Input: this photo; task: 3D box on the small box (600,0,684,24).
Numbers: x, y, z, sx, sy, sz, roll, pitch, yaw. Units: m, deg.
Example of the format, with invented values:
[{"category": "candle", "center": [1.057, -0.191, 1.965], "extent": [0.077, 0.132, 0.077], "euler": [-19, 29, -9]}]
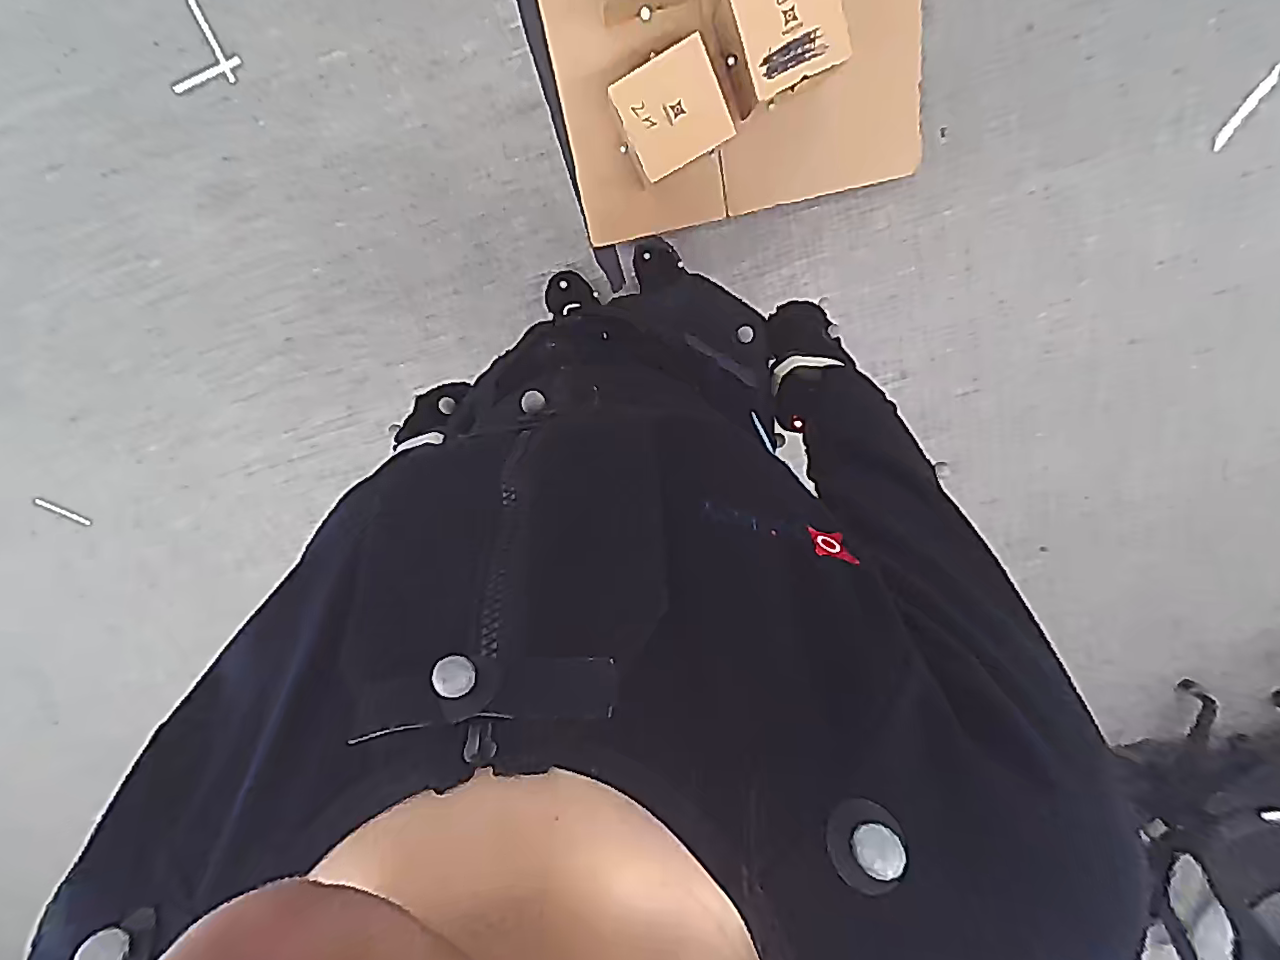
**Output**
[{"category": "small box", "center": [-0.005, -0.909, 0.896], "extent": [0.168, 0.176, 0.179], "euler": [-14, 116, 5]}]

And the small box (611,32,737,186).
[{"category": "small box", "center": [0.058, -0.674, 1.007], "extent": [0.179, 0.176, 0.168], "euler": [-25, 112, 10]}]
